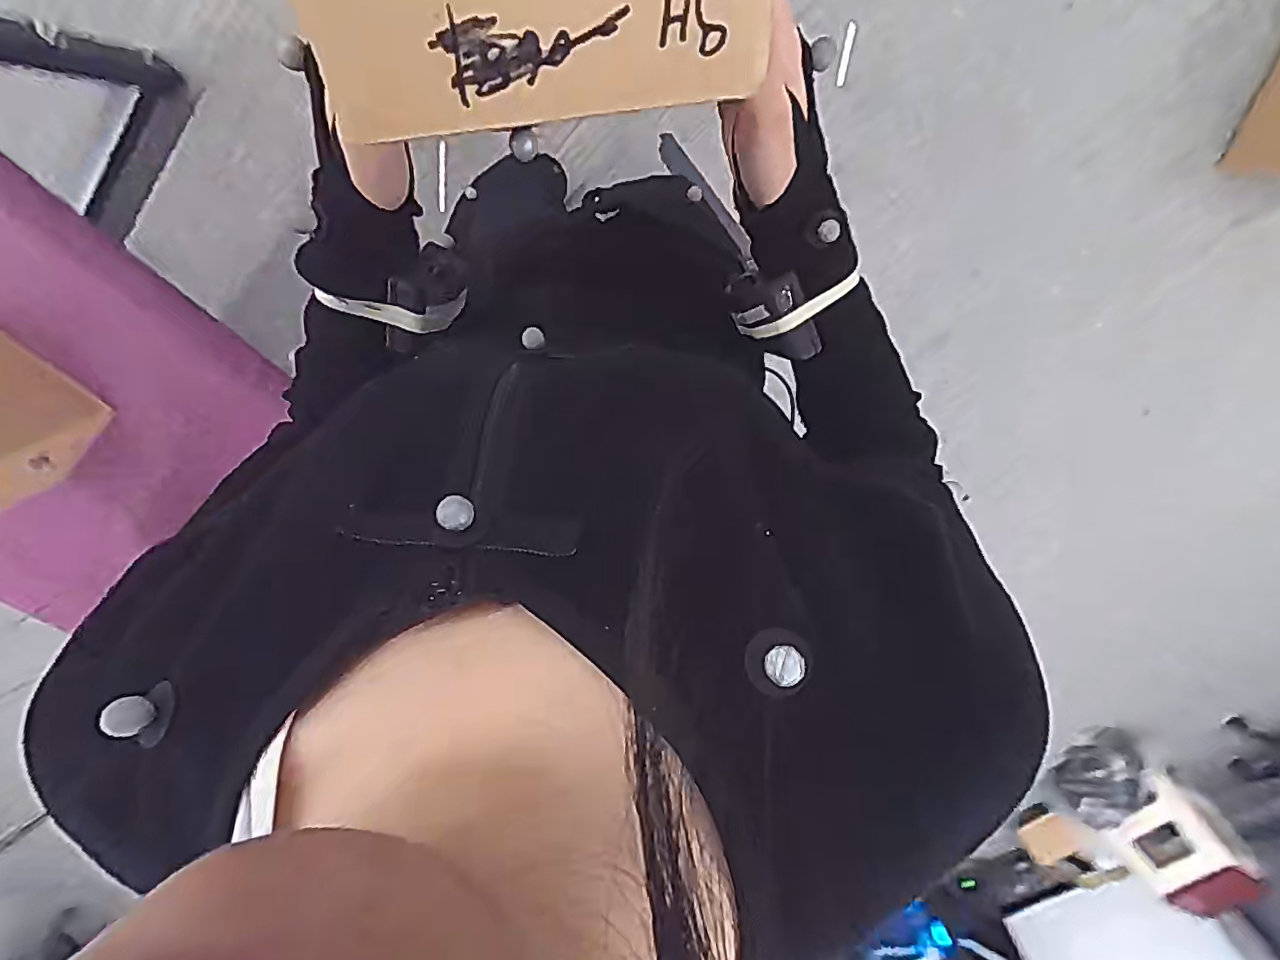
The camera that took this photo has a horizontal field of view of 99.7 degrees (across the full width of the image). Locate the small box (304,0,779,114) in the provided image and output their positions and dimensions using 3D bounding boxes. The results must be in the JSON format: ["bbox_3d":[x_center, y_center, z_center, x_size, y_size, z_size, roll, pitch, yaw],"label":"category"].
[{"bbox_3d":[-0.040,-0.262,0.212,0.168,0.176,0.179,-5,130,2],"label":"small box"}]

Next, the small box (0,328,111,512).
[{"bbox_3d":[-0.794,-0.063,0.627,0.168,0.176,0.179,-38,113,17],"label":"small box"}]
